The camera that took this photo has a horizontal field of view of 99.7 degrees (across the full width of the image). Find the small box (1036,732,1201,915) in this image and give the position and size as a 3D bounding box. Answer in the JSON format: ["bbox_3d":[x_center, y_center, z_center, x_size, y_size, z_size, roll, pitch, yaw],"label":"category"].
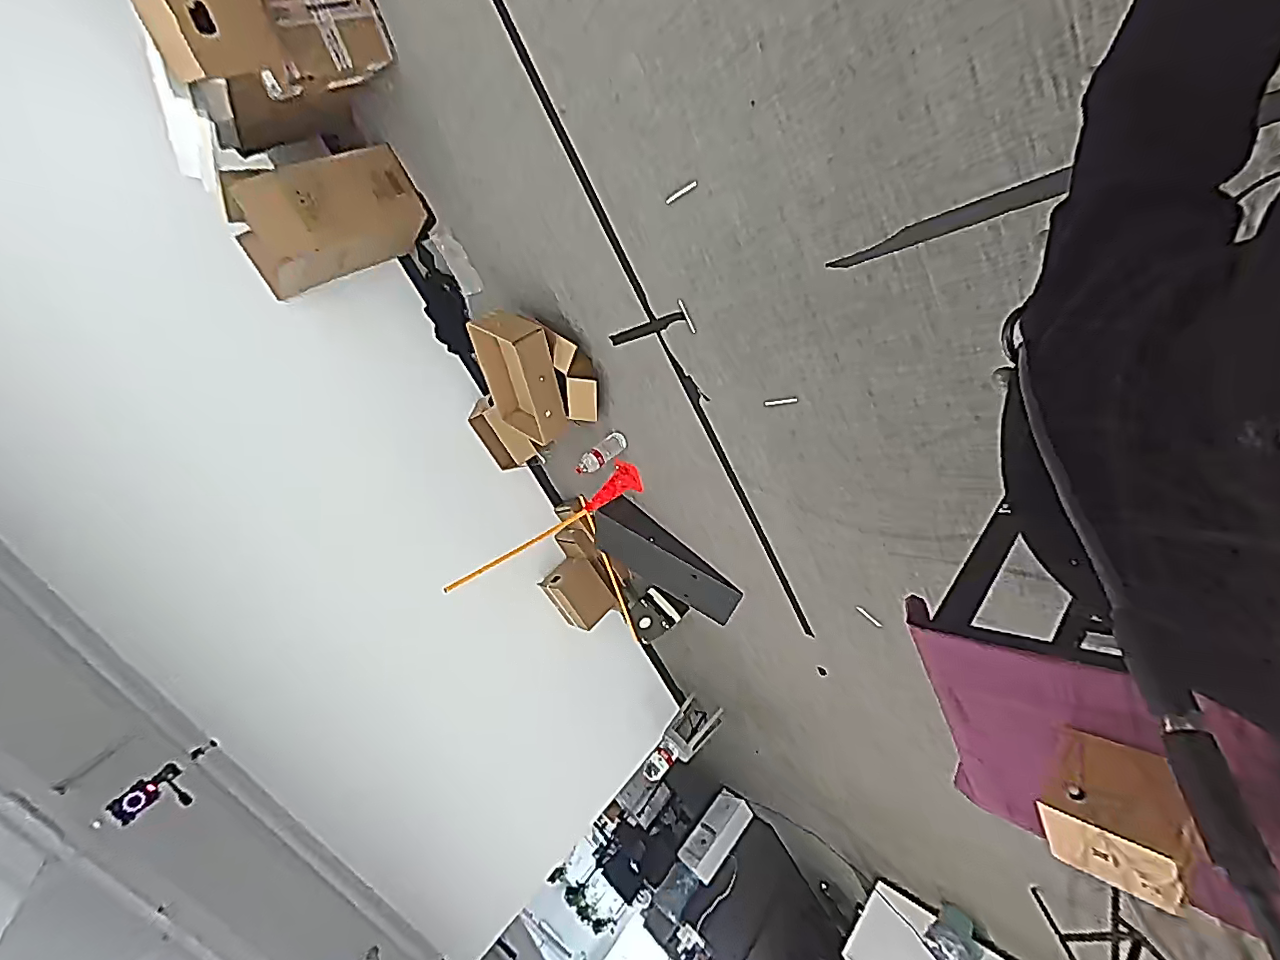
[{"bbox_3d":[0.817,0.567,0.923,0.179,0.176,0.168,2,127,53],"label":"small box"}]
